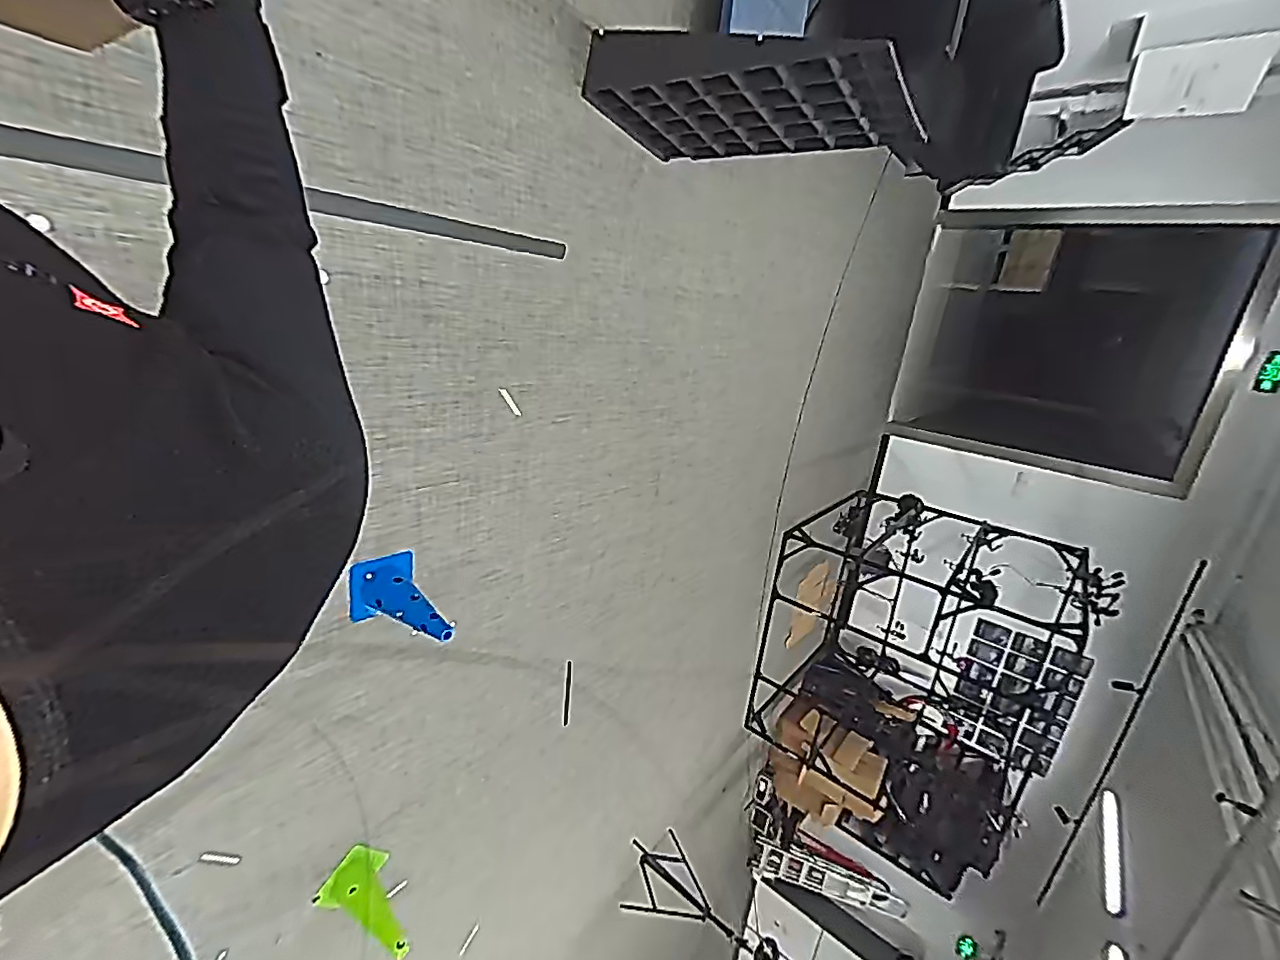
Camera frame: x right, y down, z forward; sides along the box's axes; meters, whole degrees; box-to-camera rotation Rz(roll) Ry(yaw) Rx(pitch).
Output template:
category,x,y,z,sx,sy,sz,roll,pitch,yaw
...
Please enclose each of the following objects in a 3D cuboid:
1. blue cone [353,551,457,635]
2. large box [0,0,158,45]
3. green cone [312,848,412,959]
category,x,y,z,sx,sy,sz,roll,pitch,yaw
blue cone,-0.680,0.370,1.610,0.192,0.380,0.193,-11,115,-52
large box,-0.542,-0.491,0.258,0.408,0.320,0.320,-12,121,-50
green cone,-0.888,1.463,1.819,0.202,0.368,0.200,-53,142,-26
